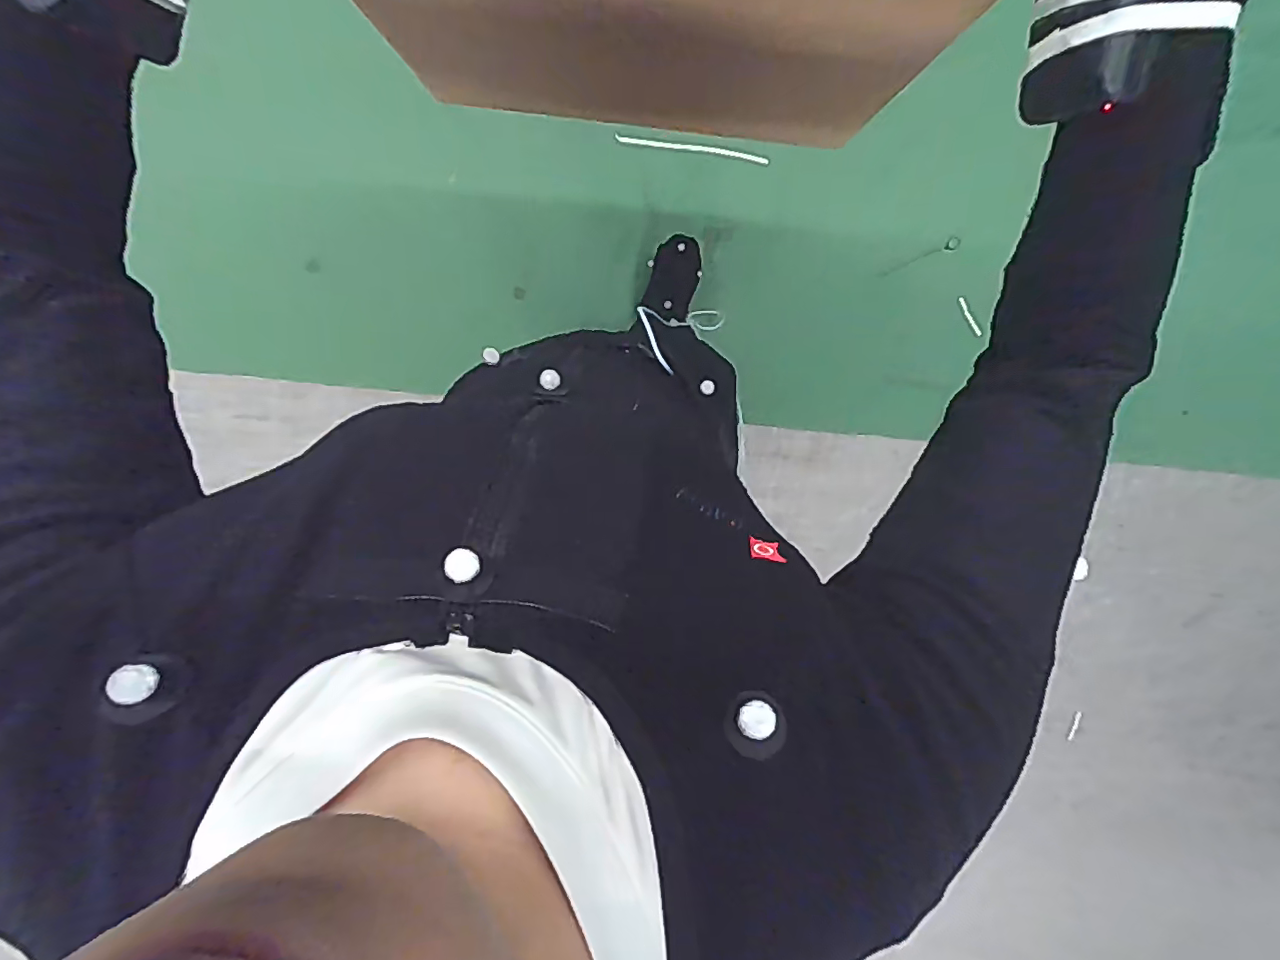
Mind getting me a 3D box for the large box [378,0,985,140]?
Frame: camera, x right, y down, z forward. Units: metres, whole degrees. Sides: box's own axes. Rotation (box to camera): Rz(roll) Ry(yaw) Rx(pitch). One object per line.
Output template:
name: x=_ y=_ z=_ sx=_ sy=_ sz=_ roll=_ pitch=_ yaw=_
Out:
large box: x=0.023 y=-0.465 z=0.357 sx=0.408 sy=0.320 sz=0.320 roll=5 pitch=105 yaw=-3
